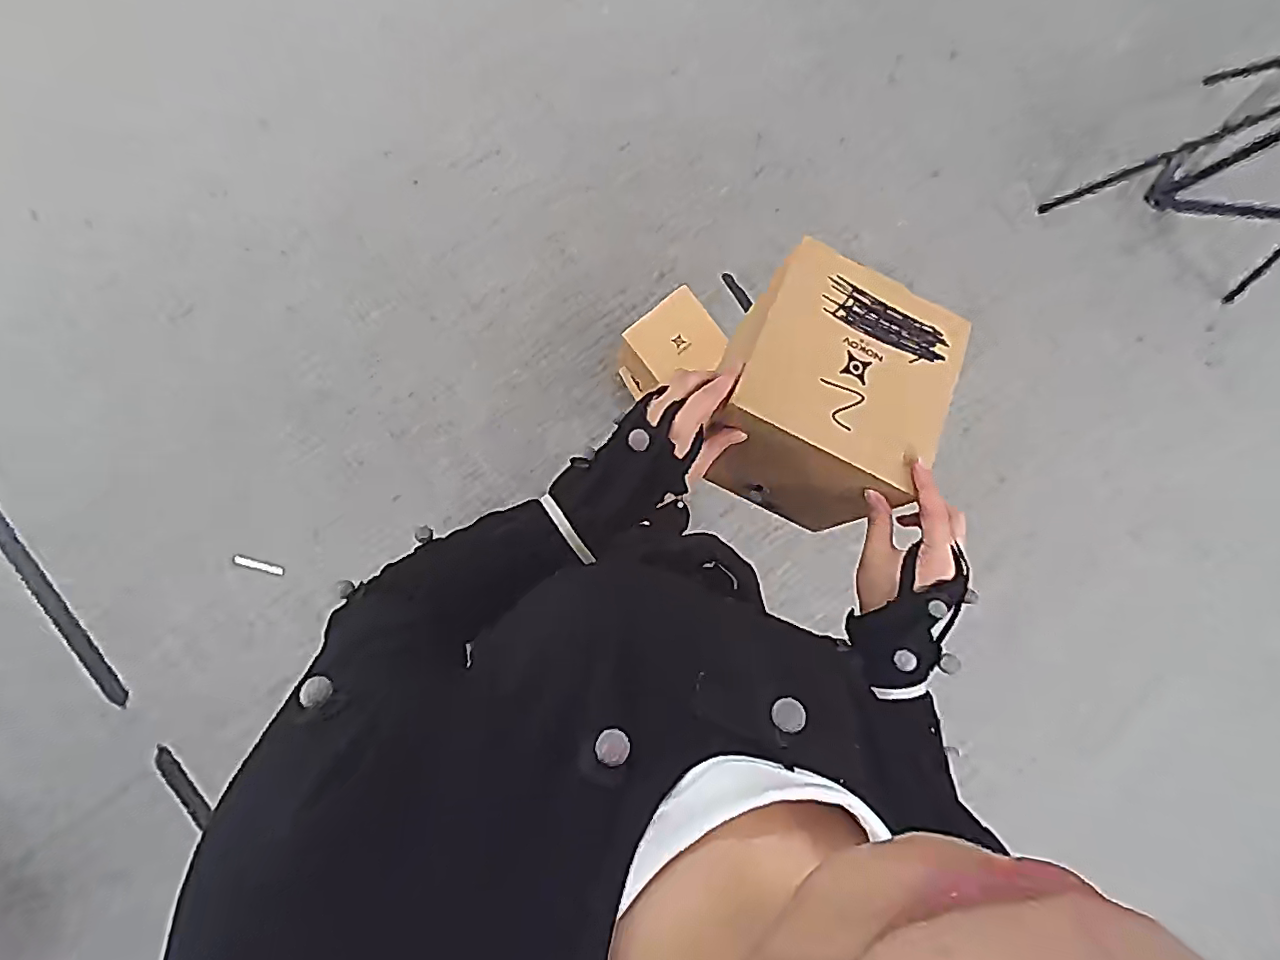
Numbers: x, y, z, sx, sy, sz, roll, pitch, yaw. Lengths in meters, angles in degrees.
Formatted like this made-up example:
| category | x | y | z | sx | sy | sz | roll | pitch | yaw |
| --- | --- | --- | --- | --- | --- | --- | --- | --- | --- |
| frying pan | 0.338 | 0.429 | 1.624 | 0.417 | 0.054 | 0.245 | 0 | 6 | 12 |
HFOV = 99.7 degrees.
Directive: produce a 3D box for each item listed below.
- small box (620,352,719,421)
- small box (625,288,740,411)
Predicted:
| category | x | y | z | sx | sy | sz | roll | pitch | yaw |
| --- | --- | --- | --- | --- | --- | --- | --- | --- | --- |
| small box | 0.065 | -0.259 | 1.315 | 0.179 | 0.176 | 0.168 | -32 | 92 | -4 |
| small box | 0.080 | -0.267 | 1.153 | 0.168 | 0.176 | 0.179 | -39 | 93 | -3 |
